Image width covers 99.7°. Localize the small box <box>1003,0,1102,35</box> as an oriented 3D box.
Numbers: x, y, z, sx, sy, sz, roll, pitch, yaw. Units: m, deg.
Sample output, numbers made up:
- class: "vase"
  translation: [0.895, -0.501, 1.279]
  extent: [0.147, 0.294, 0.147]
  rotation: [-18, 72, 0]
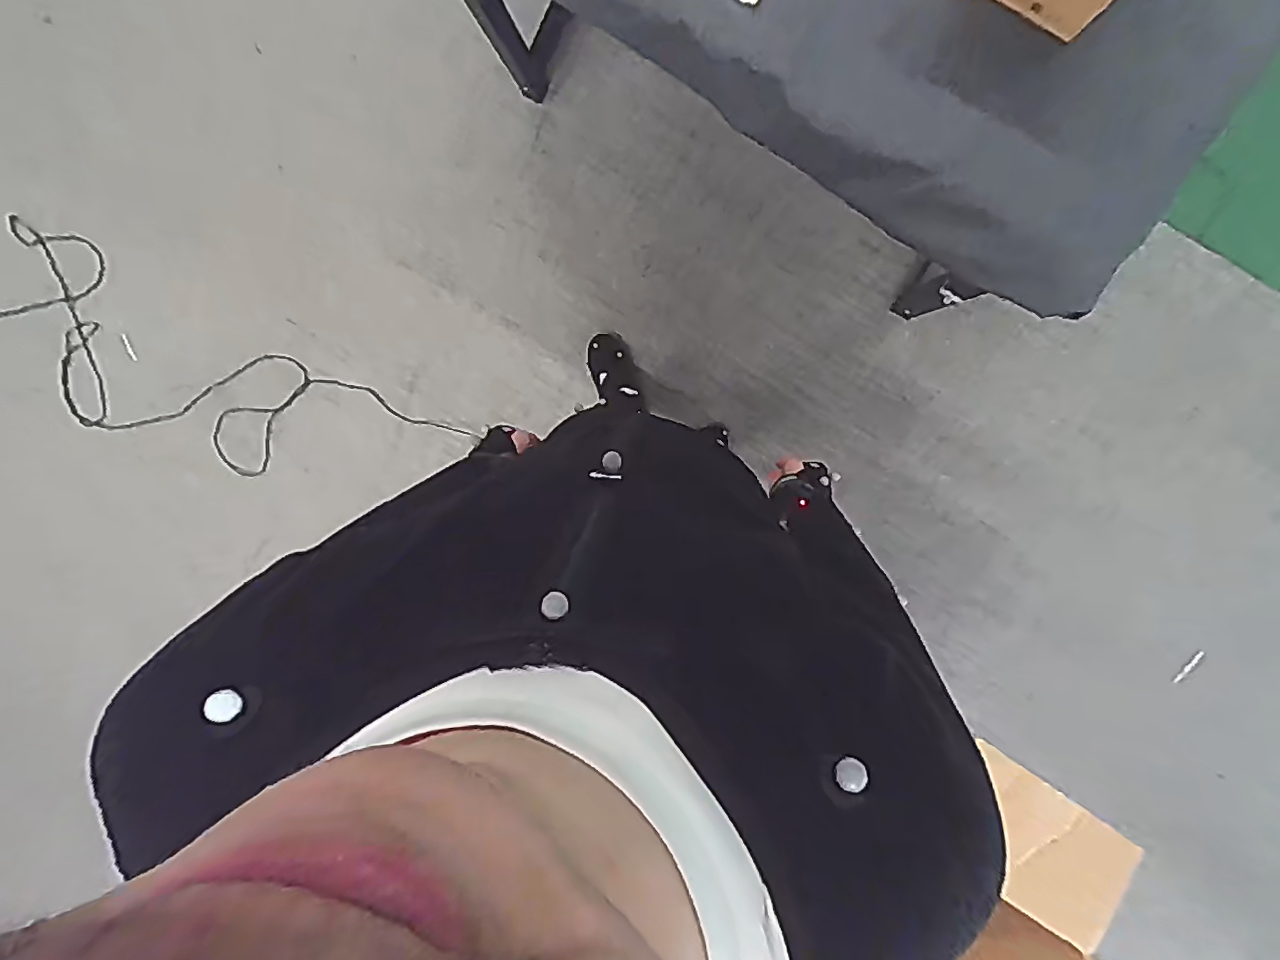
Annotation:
- class: "small box"
  translation: [0.490, -0.643, 0.580]
  extent: [0.168, 0.176, 0.179]
  rotation: [31, 103, 0]
